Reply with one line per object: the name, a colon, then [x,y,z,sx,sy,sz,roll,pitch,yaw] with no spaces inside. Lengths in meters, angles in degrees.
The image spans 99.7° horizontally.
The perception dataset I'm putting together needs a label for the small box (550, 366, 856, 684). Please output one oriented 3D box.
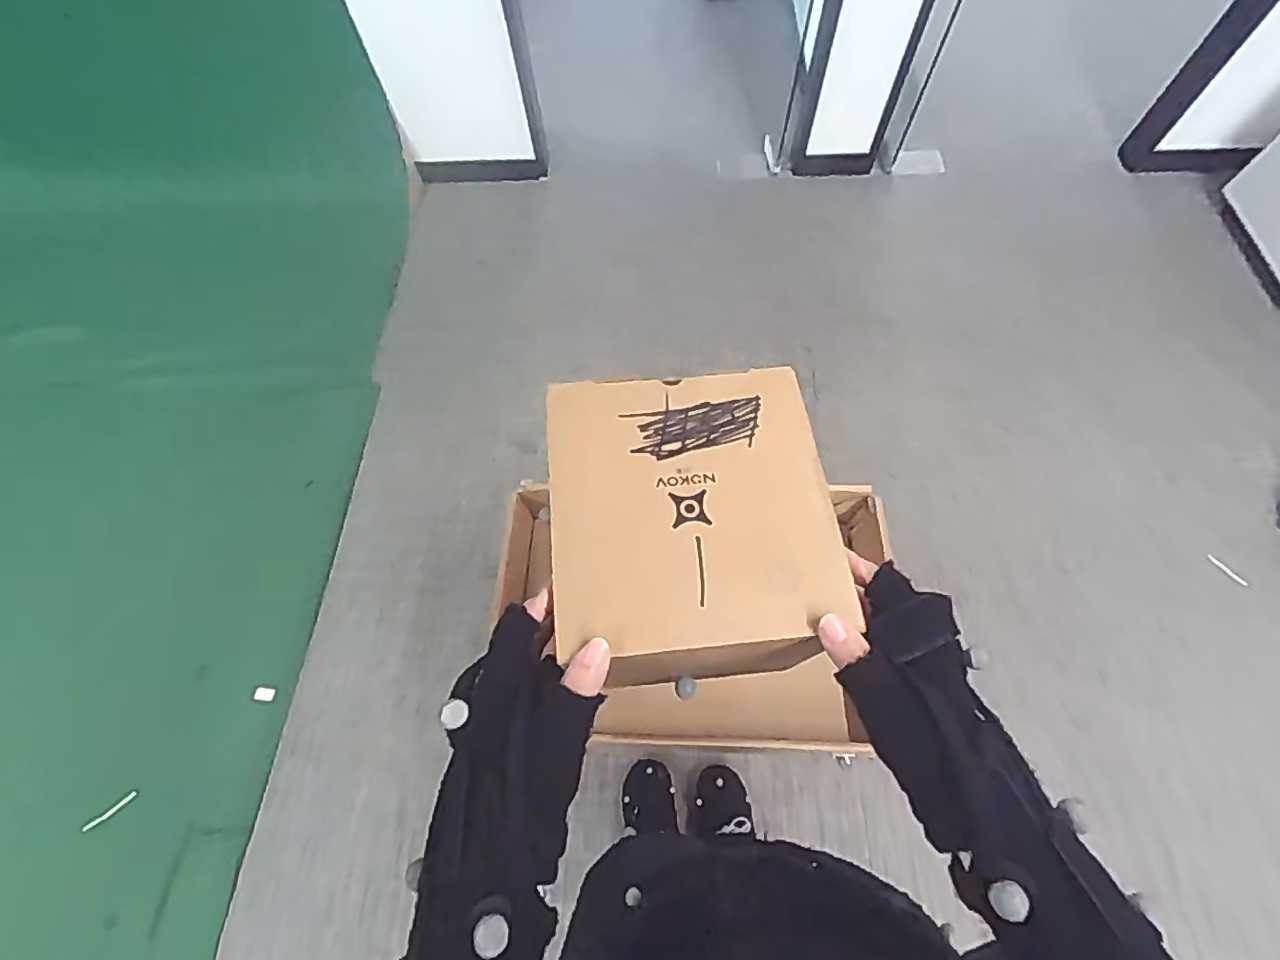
small box: [0.027,0.042,0.395,0.168,0.176,0.179,-6,65,-2]
